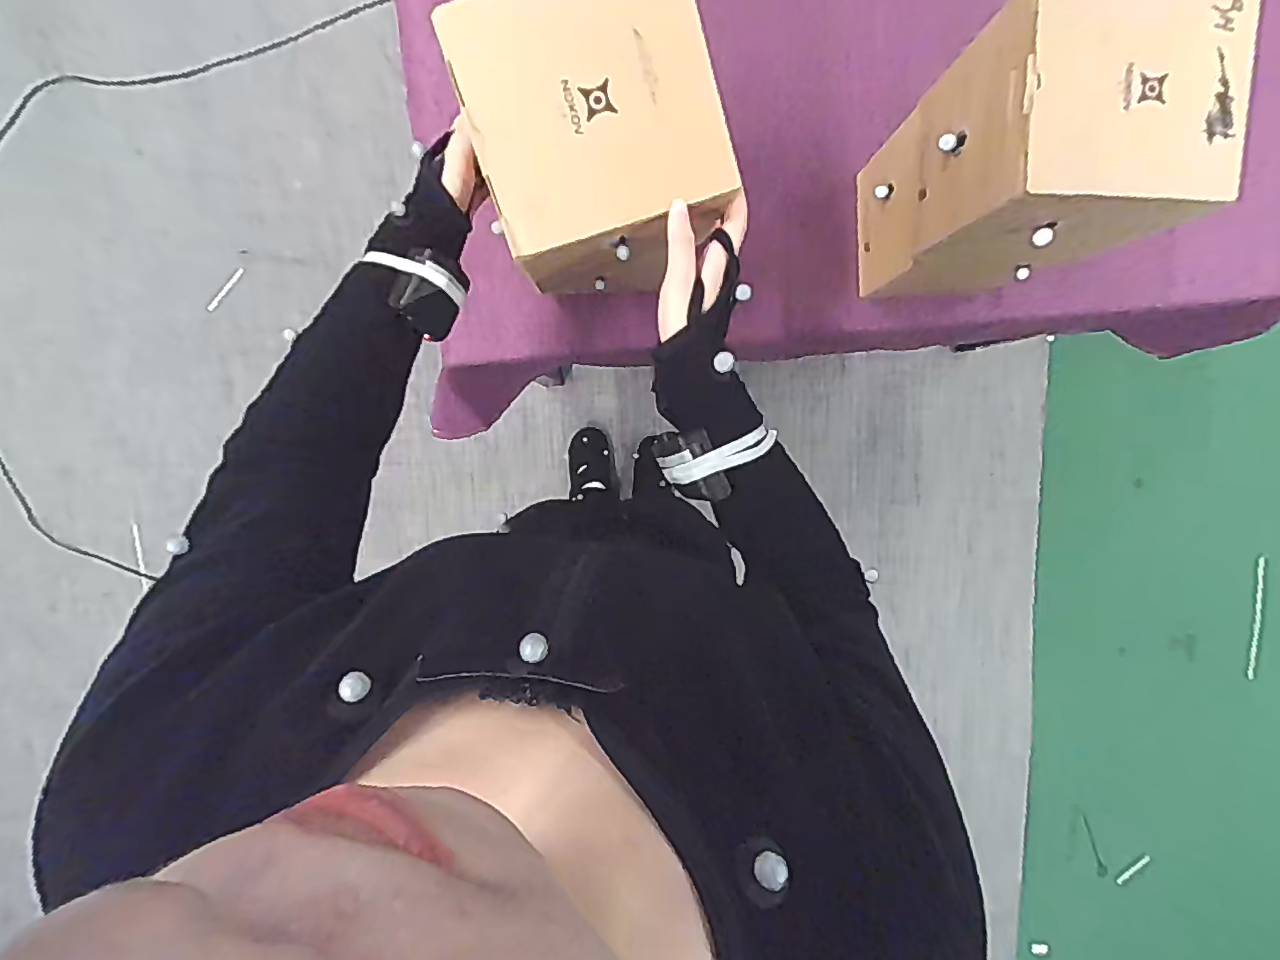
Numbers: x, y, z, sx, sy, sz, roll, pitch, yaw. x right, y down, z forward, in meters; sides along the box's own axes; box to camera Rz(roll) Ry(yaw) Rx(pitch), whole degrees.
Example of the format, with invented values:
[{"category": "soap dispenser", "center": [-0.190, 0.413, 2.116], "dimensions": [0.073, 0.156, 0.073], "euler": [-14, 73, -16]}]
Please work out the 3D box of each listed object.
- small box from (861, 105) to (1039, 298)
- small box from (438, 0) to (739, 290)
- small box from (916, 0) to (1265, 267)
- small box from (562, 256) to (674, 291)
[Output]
[{"category": "small box", "center": [0.383, -0.324, 0.654], "dimensions": [0.179, 0.176, 0.168], "euler": [-3, 96, -1]}, {"category": "small box", "center": [-0.035, -0.273, 0.453], "dimensions": [0.179, 0.176, 0.168], "euler": [-17, 101, 0]}, {"category": "small box", "center": [0.379, -0.303, 0.491], "dimensions": [0.179, 0.176, 0.168], "euler": [2, 96, -1]}, {"category": "small box", "center": [-0.044, -0.329, 0.645], "dimensions": [0.168, 0.176, 0.179], "euler": [-2, 96, -1]}]
